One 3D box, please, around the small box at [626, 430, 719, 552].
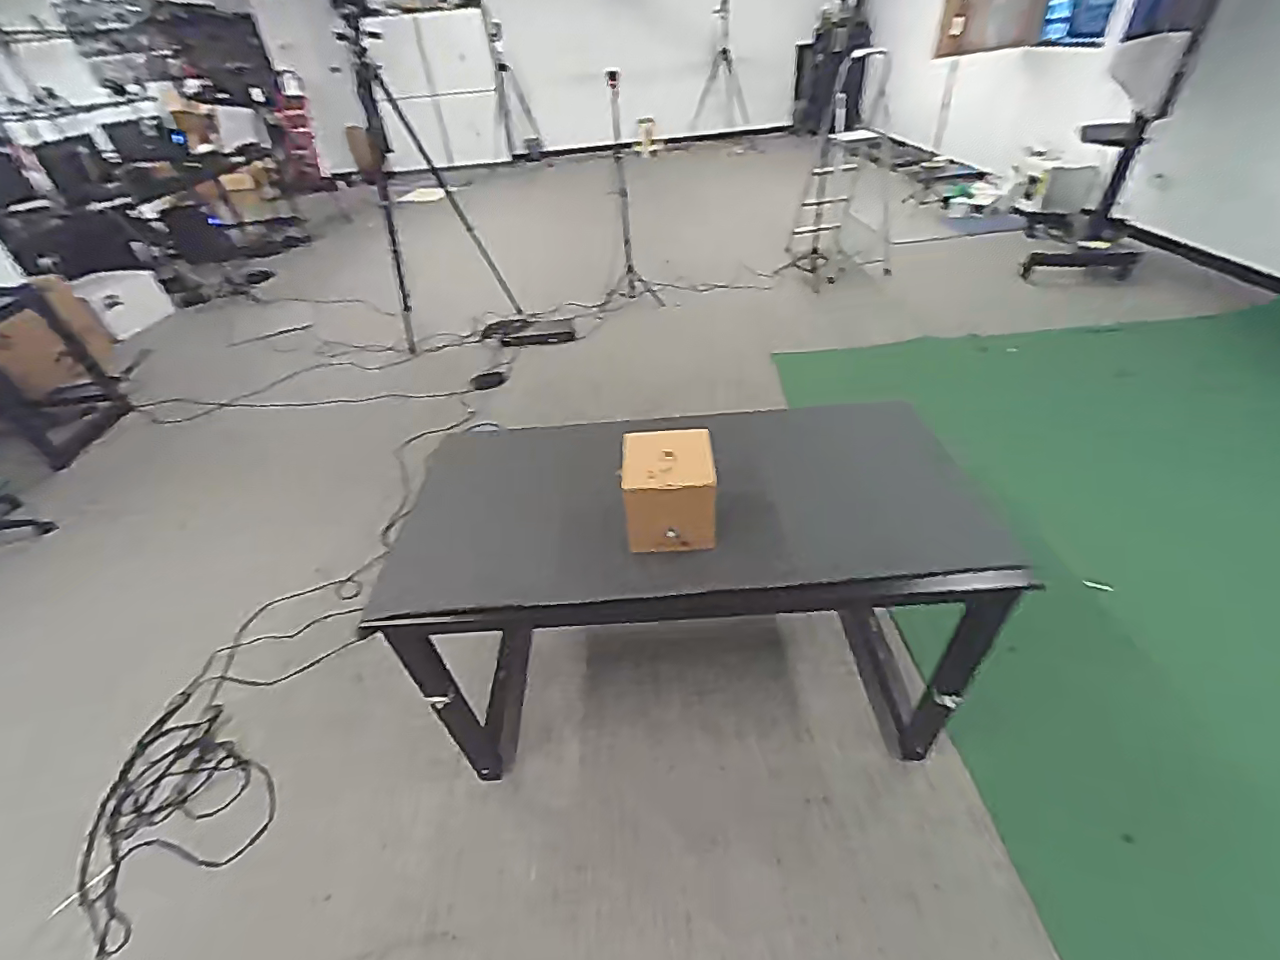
[{"bbox_3d":[0.063,0.020,1.059,0.168,0.176,0.179,-3,39,4],"label":"small box"}]
